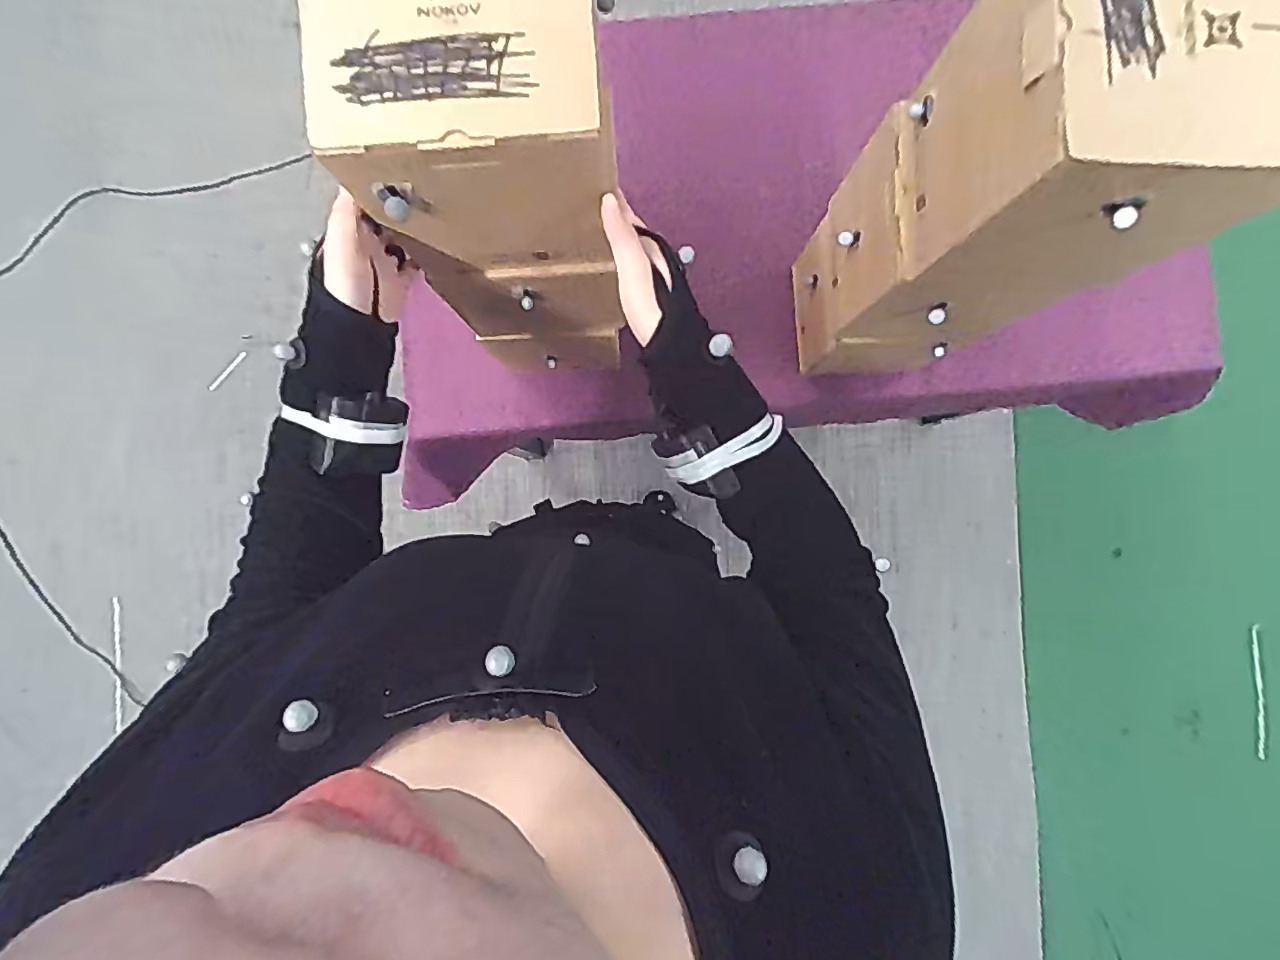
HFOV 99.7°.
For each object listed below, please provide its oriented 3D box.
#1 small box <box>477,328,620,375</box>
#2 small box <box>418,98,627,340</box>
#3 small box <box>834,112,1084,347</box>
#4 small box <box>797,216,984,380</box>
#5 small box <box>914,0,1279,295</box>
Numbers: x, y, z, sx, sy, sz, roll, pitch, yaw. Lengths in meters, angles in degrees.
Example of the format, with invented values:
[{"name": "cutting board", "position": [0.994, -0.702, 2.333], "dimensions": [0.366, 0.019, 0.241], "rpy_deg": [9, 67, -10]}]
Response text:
[{"name": "small box", "position": [-0.112, -0.239, 0.714], "dimensions": [0.168, 0.176, 0.179], "rpy_deg": [-2, 88, -1]}, {"name": "small box", "position": [-0.105, -0.247, 0.551], "dimensions": [0.179, 0.176, 0.168], "rpy_deg": [-3, 89, -1]}, {"name": "small box", "position": [0.310, -0.240, 0.556], "dimensions": [0.179, 0.176, 0.168], "rpy_deg": [1, 88, 0]}, {"name": "small box", "position": [0.316, -0.233, 0.720], "dimensions": [0.179, 0.176, 0.168], "rpy_deg": [-3, 88, -1]}, {"name": "small box", "position": [0.321, -0.245, 0.391], "dimensions": [0.179, 0.176, 0.168], "rpy_deg": [1, 87, -2]}]
